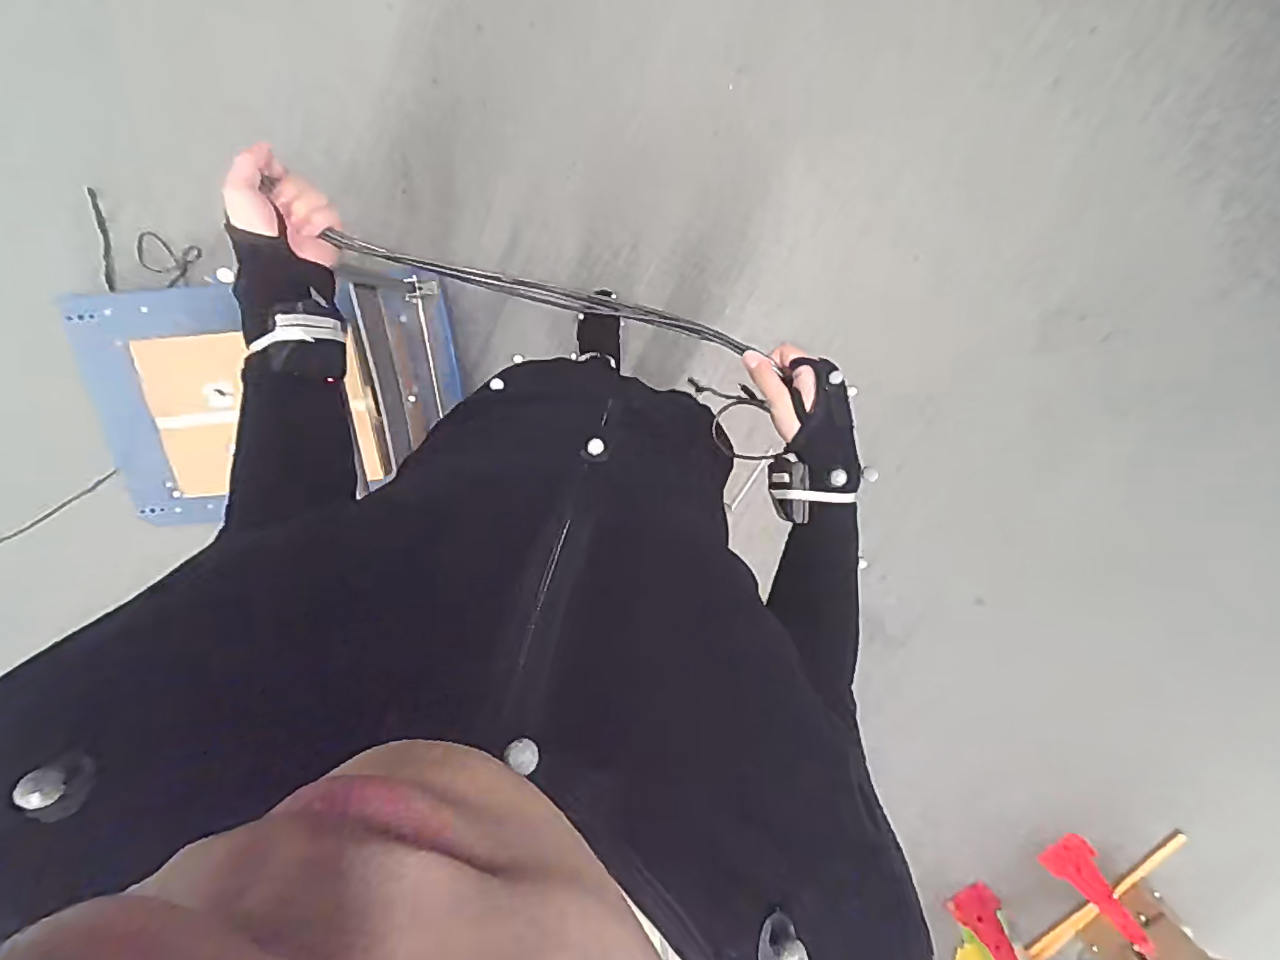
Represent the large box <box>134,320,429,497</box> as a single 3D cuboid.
[{"bbox_3d":[-0.737,-0.174,1.192,0.408,0.320,0.320,-5,106,-2],"label":"large box"}]
